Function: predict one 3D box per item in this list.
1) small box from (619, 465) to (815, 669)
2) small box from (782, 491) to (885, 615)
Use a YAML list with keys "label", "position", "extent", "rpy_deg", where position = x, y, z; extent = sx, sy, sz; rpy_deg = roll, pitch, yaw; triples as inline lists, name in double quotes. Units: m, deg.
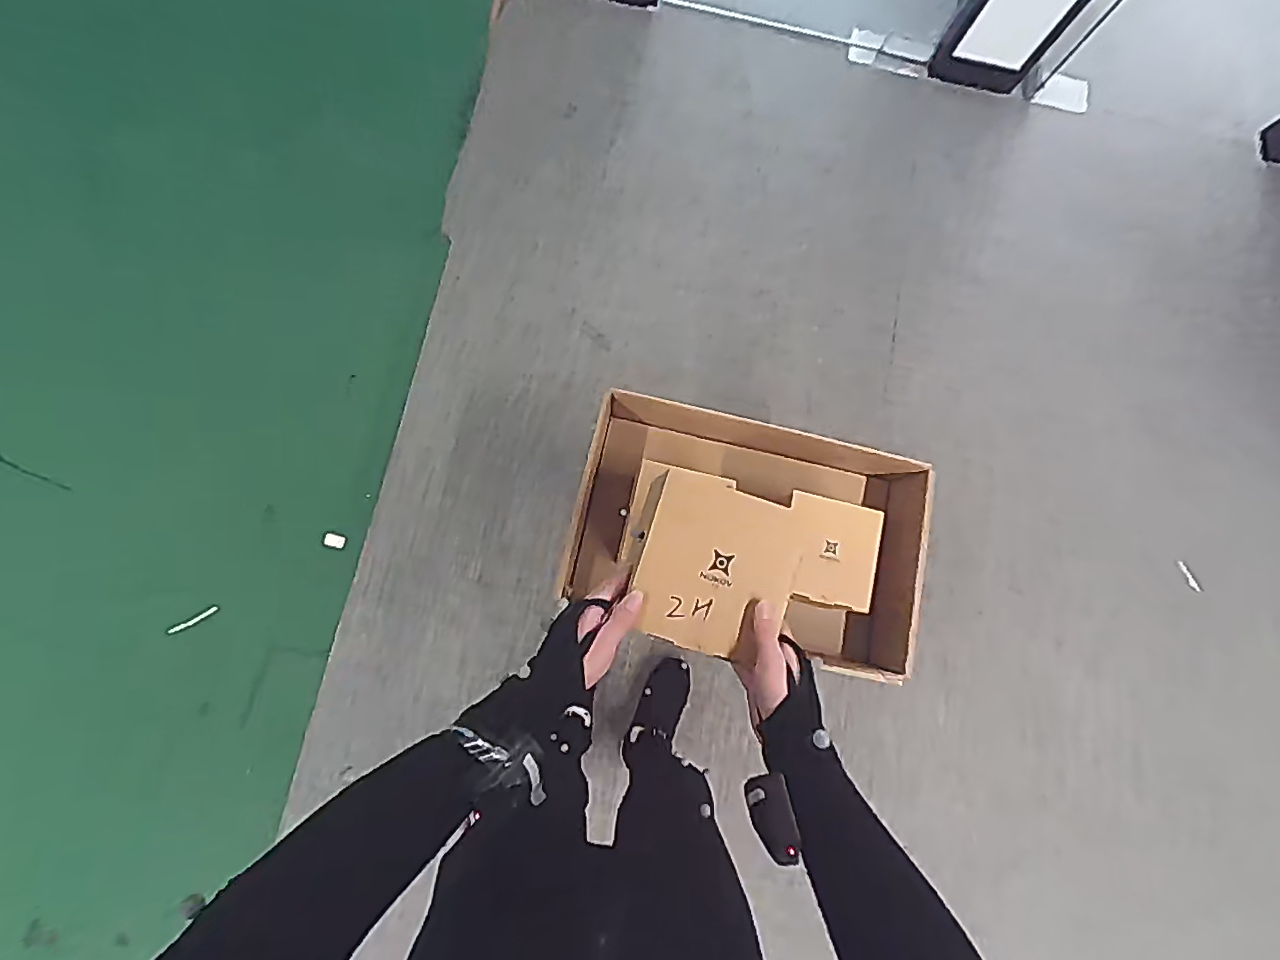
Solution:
- label: "small box"
  position: [0.078, 0.098, 0.645]
  extent: [0.168, 0.176, 0.179]
  rpy_deg: [19, 84, -4]
- label: "small box"
  position: [0.313, 0.133, 0.979]
  extent: [0.168, 0.176, 0.179]
  rpy_deg: [14, 80, -3]
